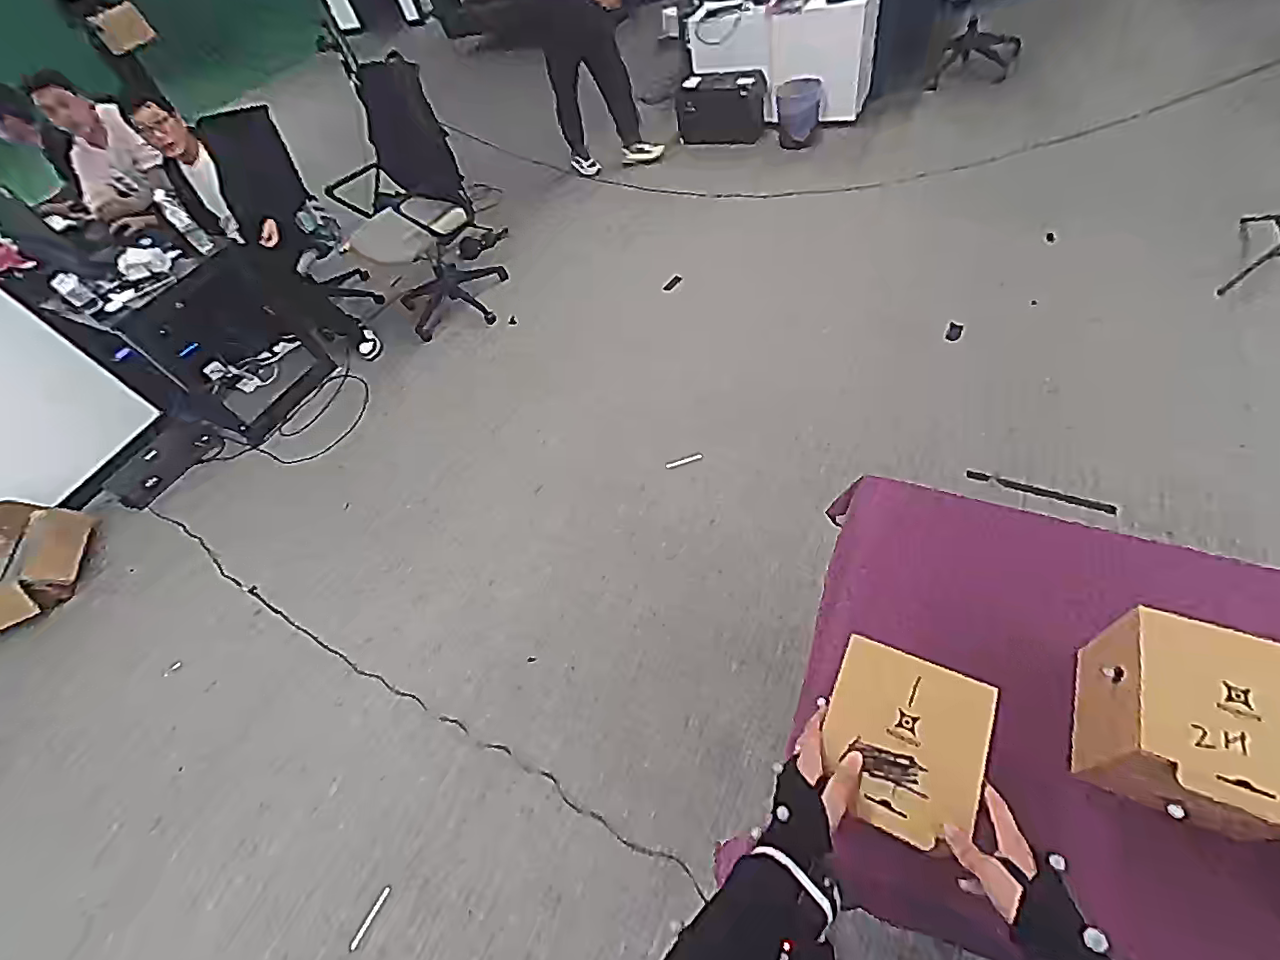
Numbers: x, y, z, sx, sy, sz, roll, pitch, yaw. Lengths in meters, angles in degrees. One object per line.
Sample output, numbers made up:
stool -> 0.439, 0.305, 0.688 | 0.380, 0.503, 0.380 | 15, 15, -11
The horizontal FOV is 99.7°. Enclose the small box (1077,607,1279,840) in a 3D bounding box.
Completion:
small box -> 0.642, 0.282, 0.627 | 0.168, 0.176, 0.179 | 15, 59, 25

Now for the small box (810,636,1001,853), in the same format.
small box -> 0.319, 0.332, 0.675 | 0.168, 0.176, 0.179 | 18, 59, 25
